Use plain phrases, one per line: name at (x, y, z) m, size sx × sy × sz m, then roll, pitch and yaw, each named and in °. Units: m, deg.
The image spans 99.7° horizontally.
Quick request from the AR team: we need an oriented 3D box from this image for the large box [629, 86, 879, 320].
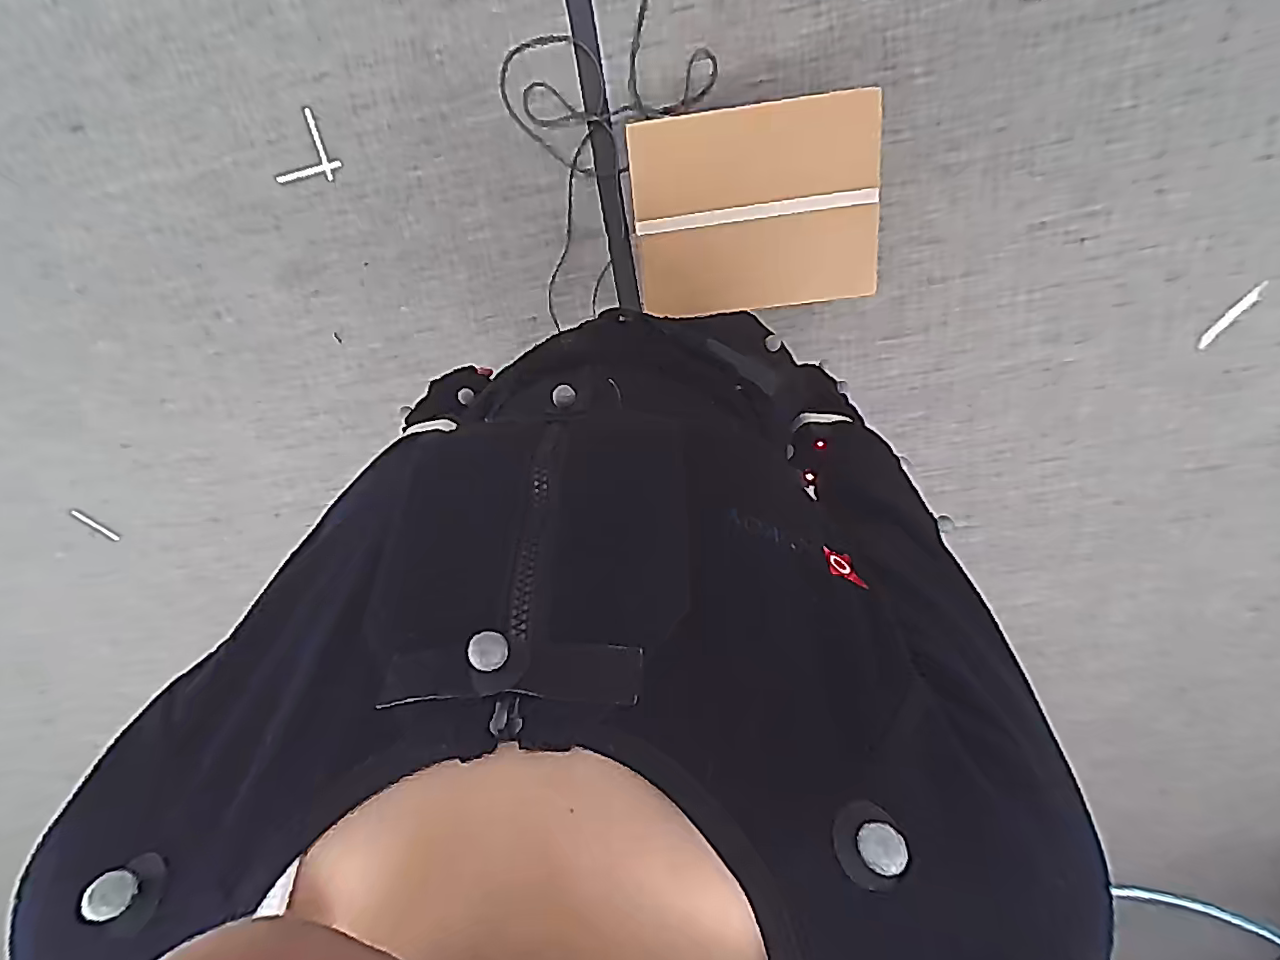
large box at (0.203, -0.506, 1.054) m, size 0.408 × 0.320 × 0.320 m, roll -5°, pitch 112°, yaw 5°
